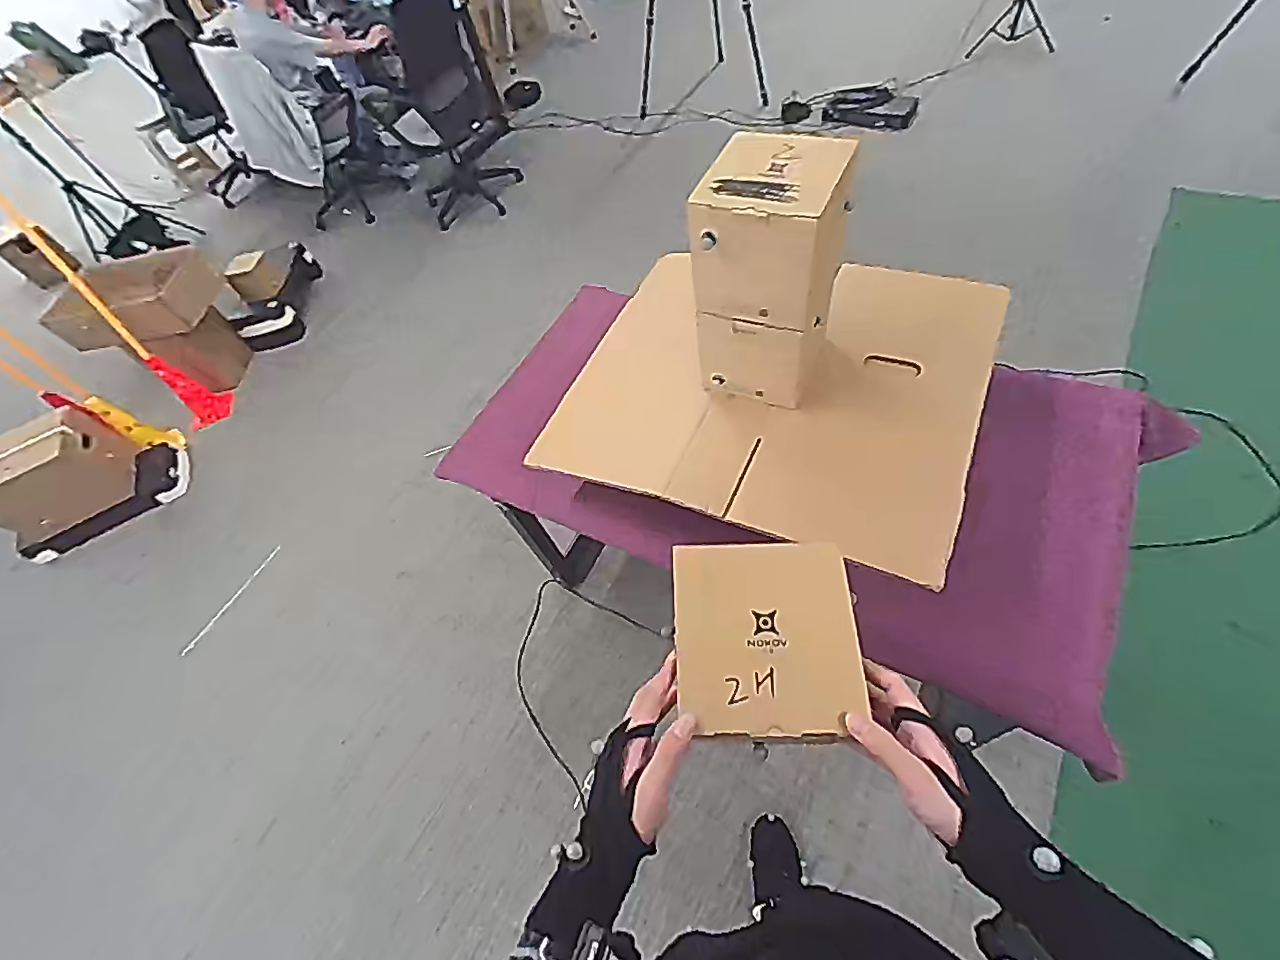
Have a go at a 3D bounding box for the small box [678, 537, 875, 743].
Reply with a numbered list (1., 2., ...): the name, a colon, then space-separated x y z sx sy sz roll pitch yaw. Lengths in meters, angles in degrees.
1. small box: 0.123 0.171 0.563 0.168 0.176 0.179 -1 63 5

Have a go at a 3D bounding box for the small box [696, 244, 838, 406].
1. small box: 0.203 -0.245 0.869 0.168 0.176 0.179 18 62 21
